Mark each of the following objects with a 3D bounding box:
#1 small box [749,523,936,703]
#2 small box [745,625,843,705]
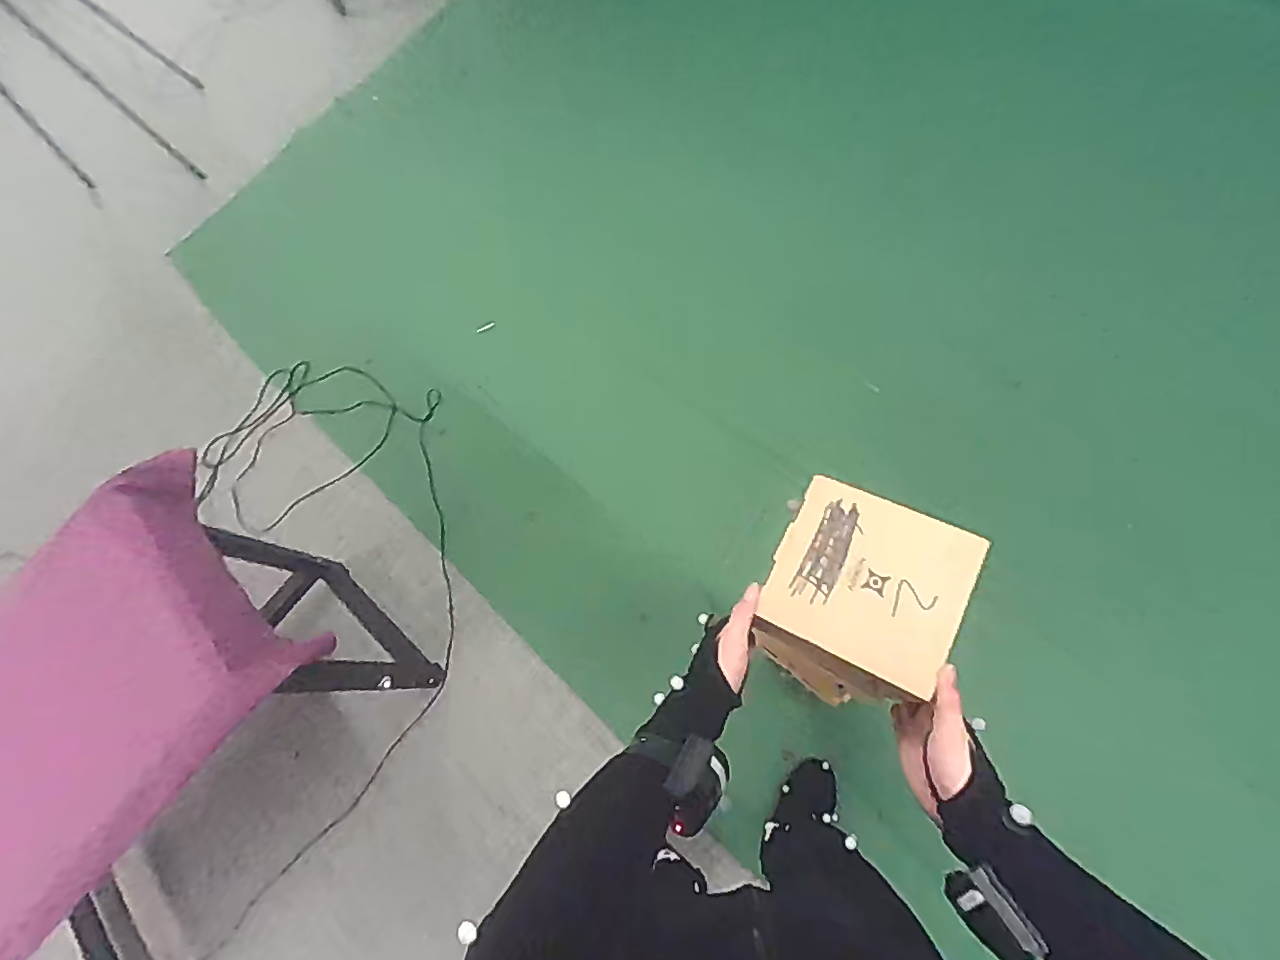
[{"bbox_3d":[0.273,0.188,0.758,0.179,0.176,0.168,28,77,23],"label":"small box"},{"bbox_3d":[0.299,0.250,0.907,0.168,0.176,0.179,37,83,23],"label":"small box"}]
